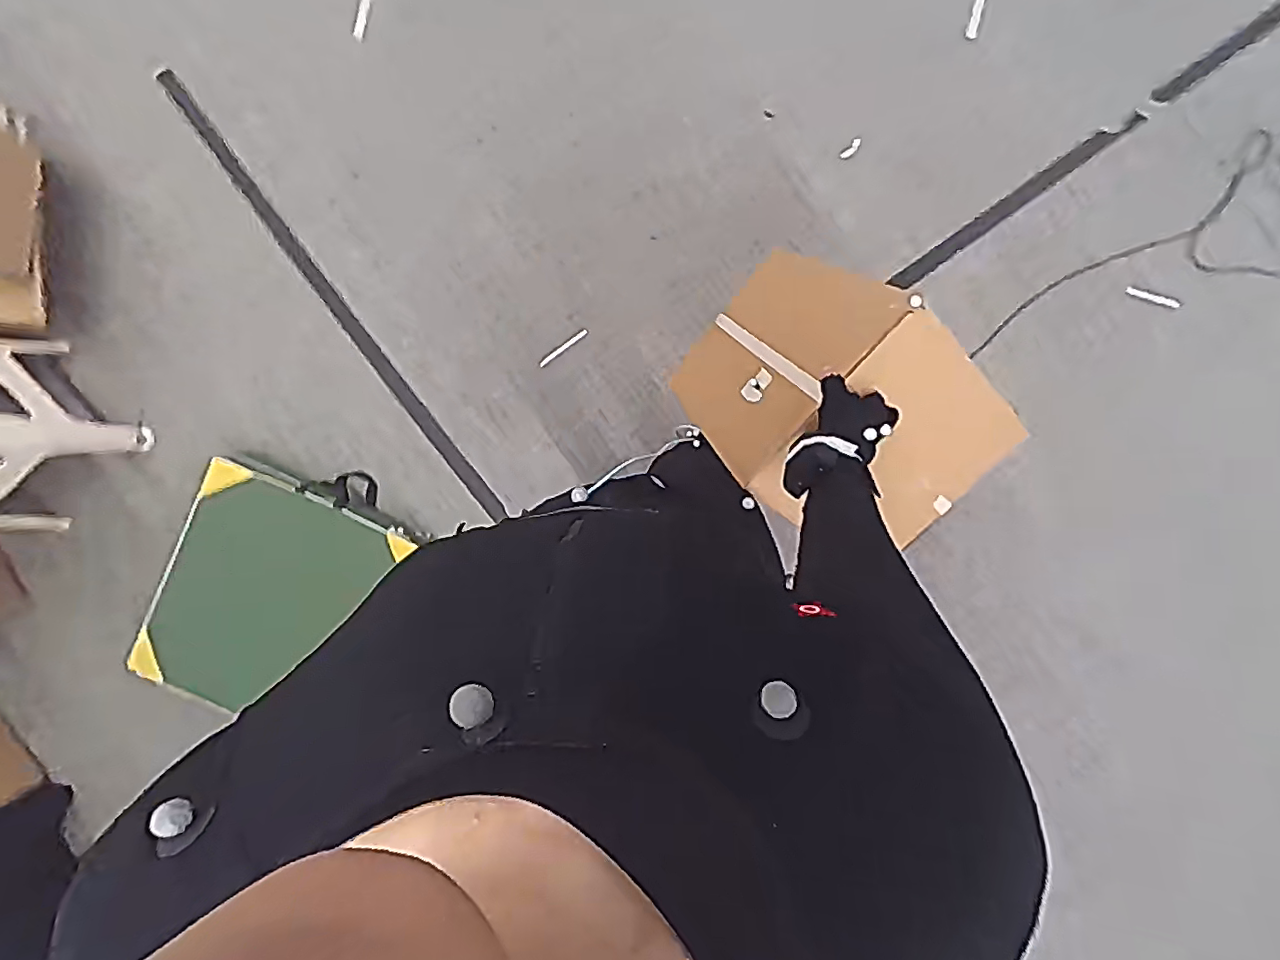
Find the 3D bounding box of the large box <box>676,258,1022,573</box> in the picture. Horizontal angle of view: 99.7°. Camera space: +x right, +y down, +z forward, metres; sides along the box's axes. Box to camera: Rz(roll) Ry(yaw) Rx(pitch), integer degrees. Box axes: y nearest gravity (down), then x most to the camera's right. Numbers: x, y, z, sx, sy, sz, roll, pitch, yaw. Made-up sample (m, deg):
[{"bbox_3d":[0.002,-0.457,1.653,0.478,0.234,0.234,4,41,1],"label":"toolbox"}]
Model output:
[{"bbox_3d":[0.318,-0.122,0.922,0.320,0.408,0.320,32,109,-29],"label":"large box"}]
